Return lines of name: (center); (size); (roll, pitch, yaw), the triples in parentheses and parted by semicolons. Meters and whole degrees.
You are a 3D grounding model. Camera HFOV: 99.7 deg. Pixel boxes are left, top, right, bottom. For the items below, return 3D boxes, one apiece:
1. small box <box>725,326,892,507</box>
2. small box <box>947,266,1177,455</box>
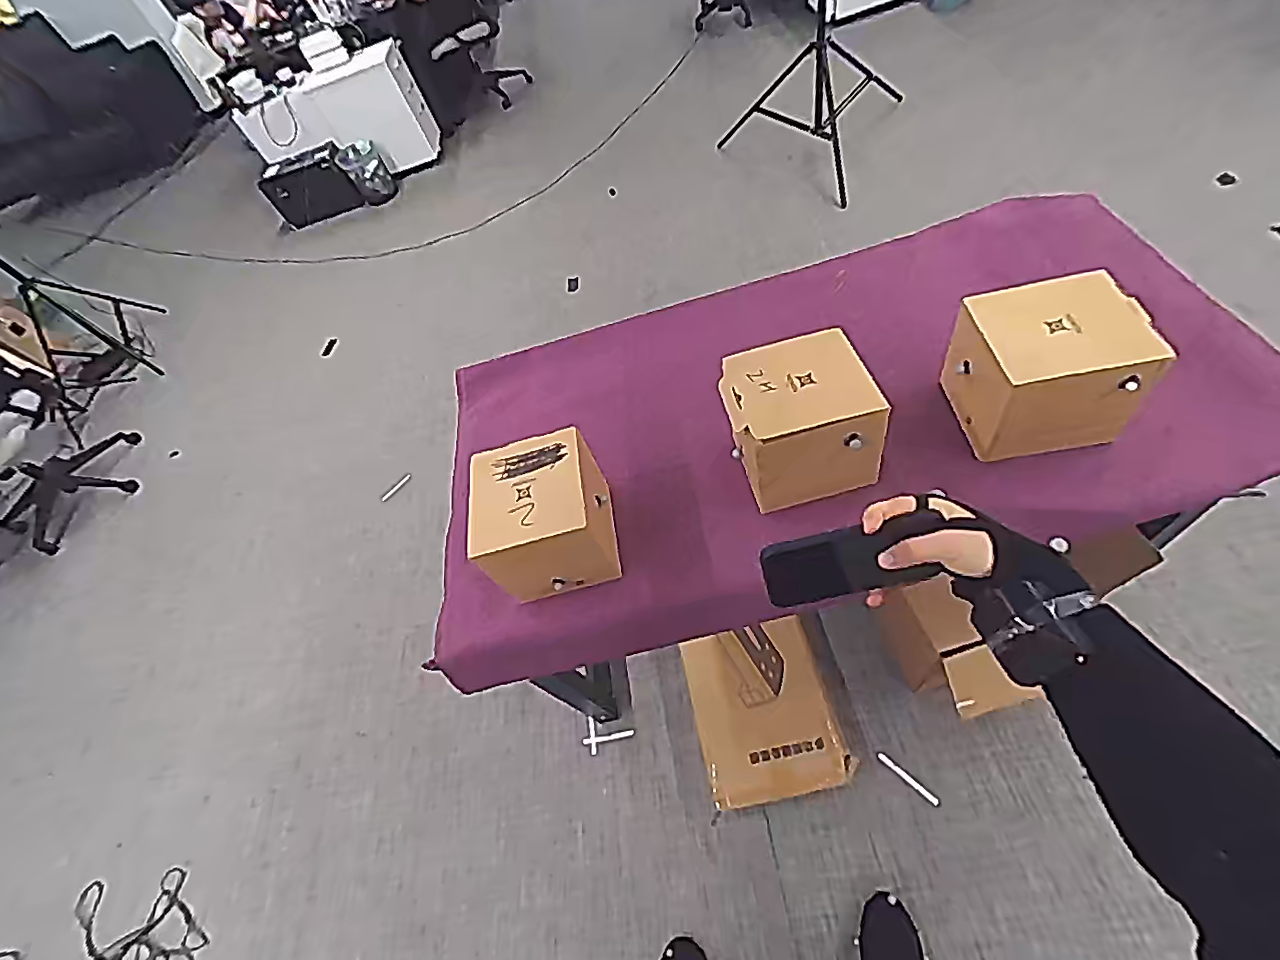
small box: (0.233, -0.085, 0.779); (0.179, 0.176, 0.168); (-16, 52, 6)
small box: (0.541, -0.152, 0.733); (0.179, 0.176, 0.168); (-10, 55, 10)
